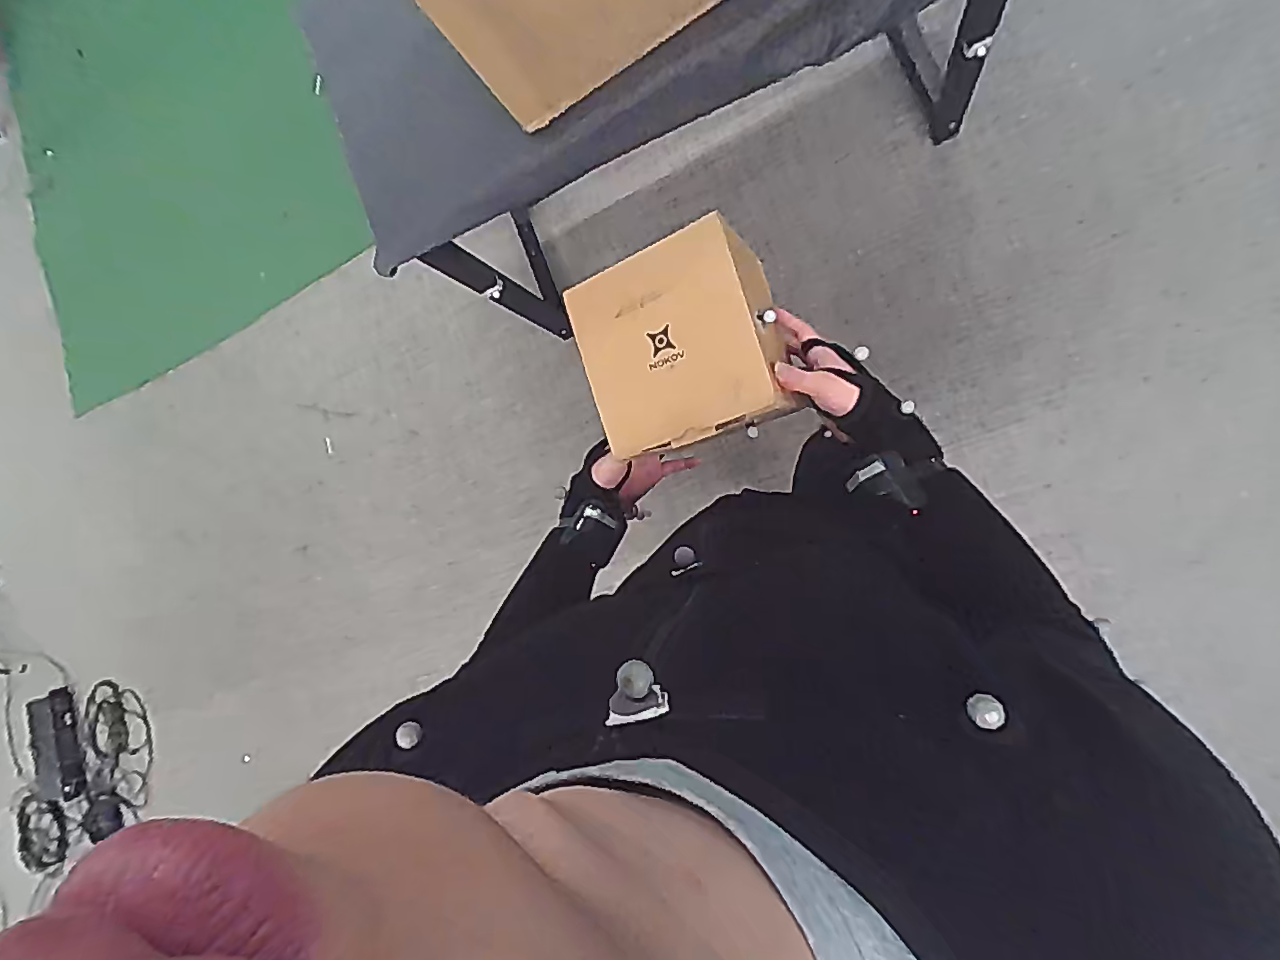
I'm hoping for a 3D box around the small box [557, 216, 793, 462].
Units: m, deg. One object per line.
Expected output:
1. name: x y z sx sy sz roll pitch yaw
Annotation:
1. small box: 0.046 -0.129 0.559 0.168 0.176 0.179 -17 88 26
